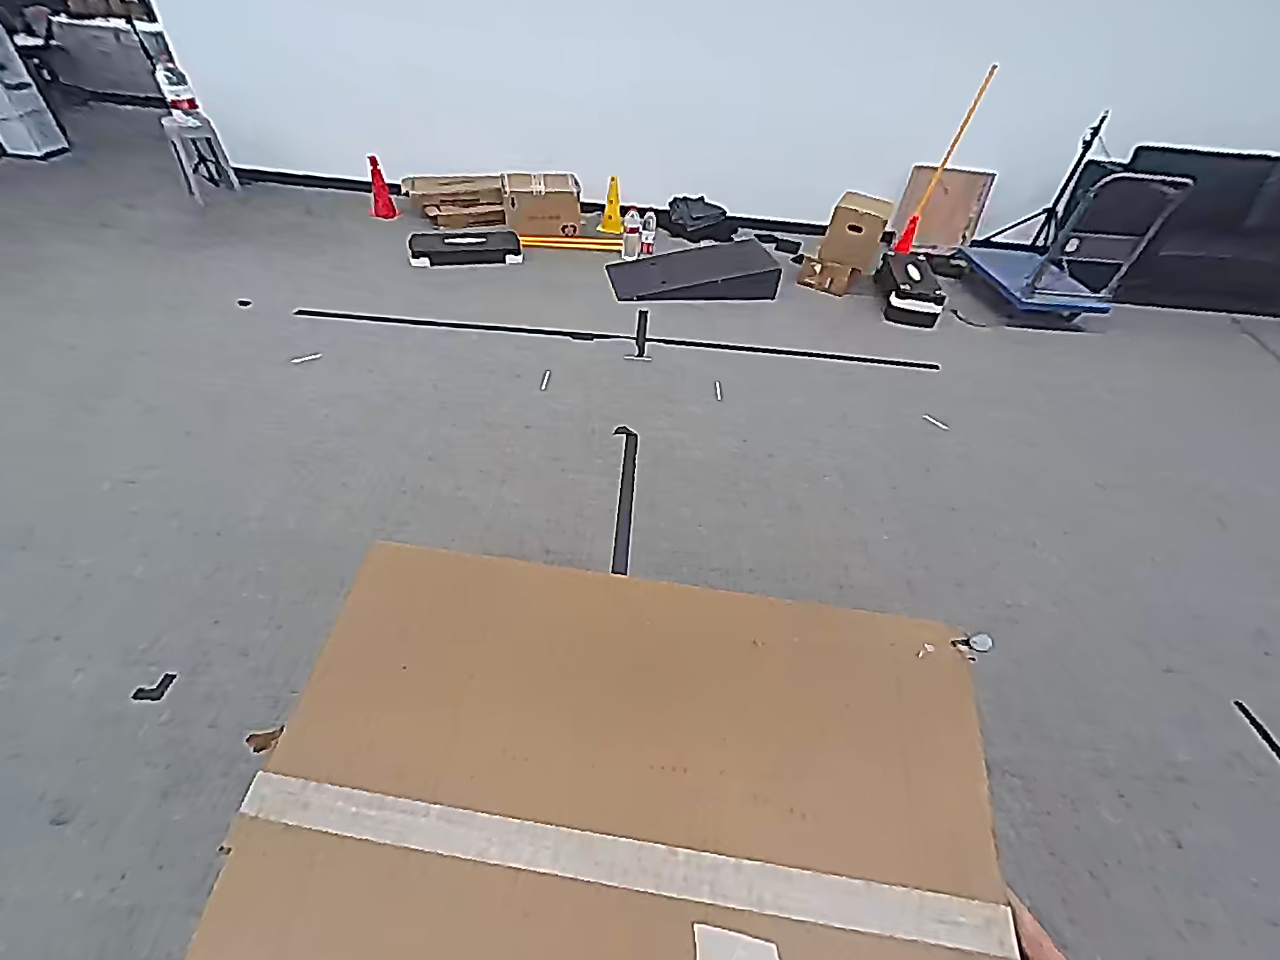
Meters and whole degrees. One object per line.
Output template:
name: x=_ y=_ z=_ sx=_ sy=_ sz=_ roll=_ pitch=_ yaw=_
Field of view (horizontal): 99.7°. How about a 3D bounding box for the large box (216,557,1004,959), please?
large box: x=-0.011 y=0.283 z=0.425 sx=0.408 sy=0.320 sz=0.320 roll=8 pitch=60 yaw=4
